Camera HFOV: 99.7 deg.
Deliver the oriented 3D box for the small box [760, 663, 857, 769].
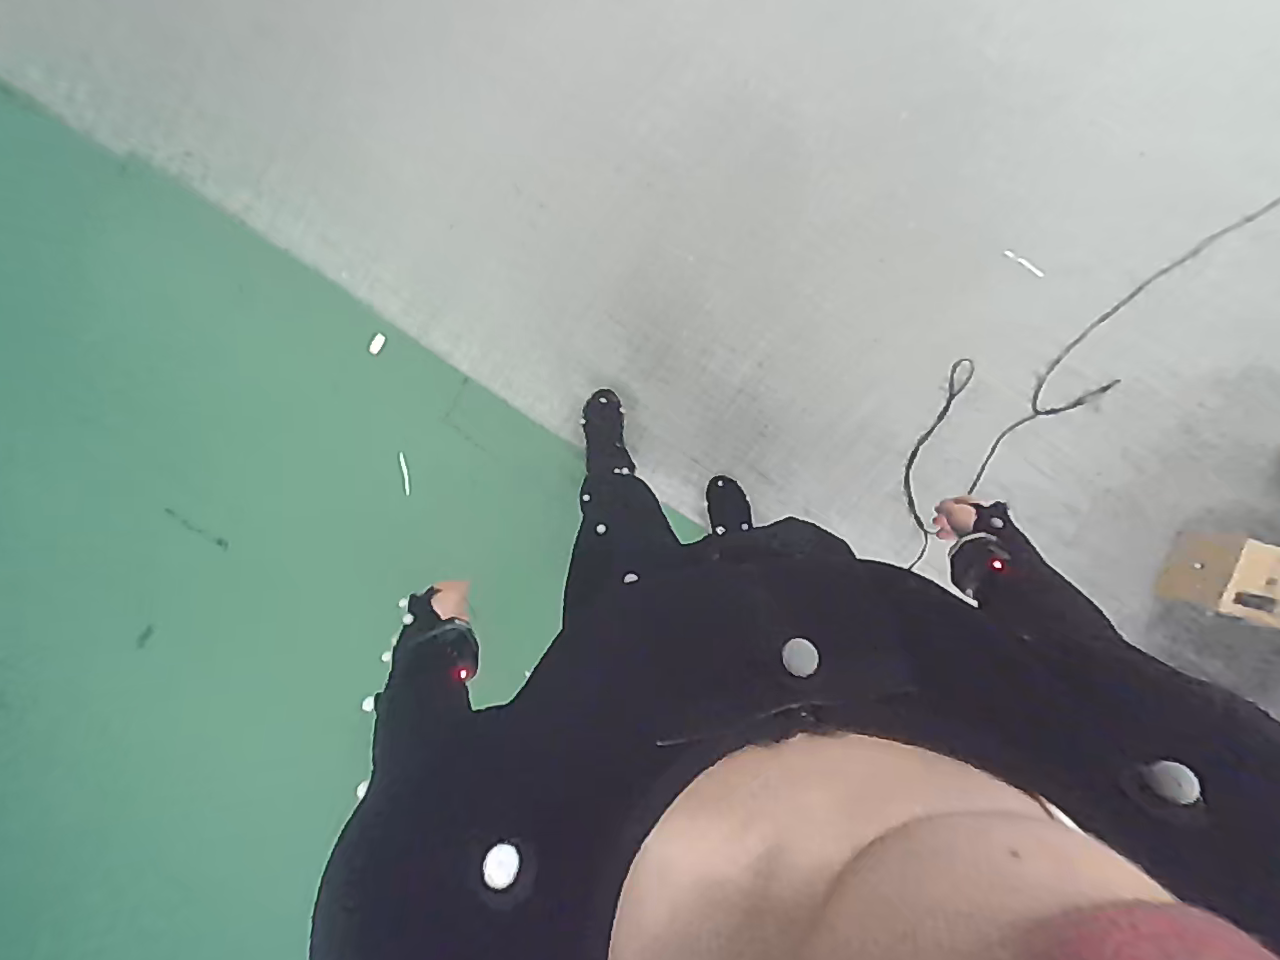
[{"bbox_3d":[0.428,0.602,1.401,0.179,0.176,0.168,-23,93,7],"label":"small box"}]
